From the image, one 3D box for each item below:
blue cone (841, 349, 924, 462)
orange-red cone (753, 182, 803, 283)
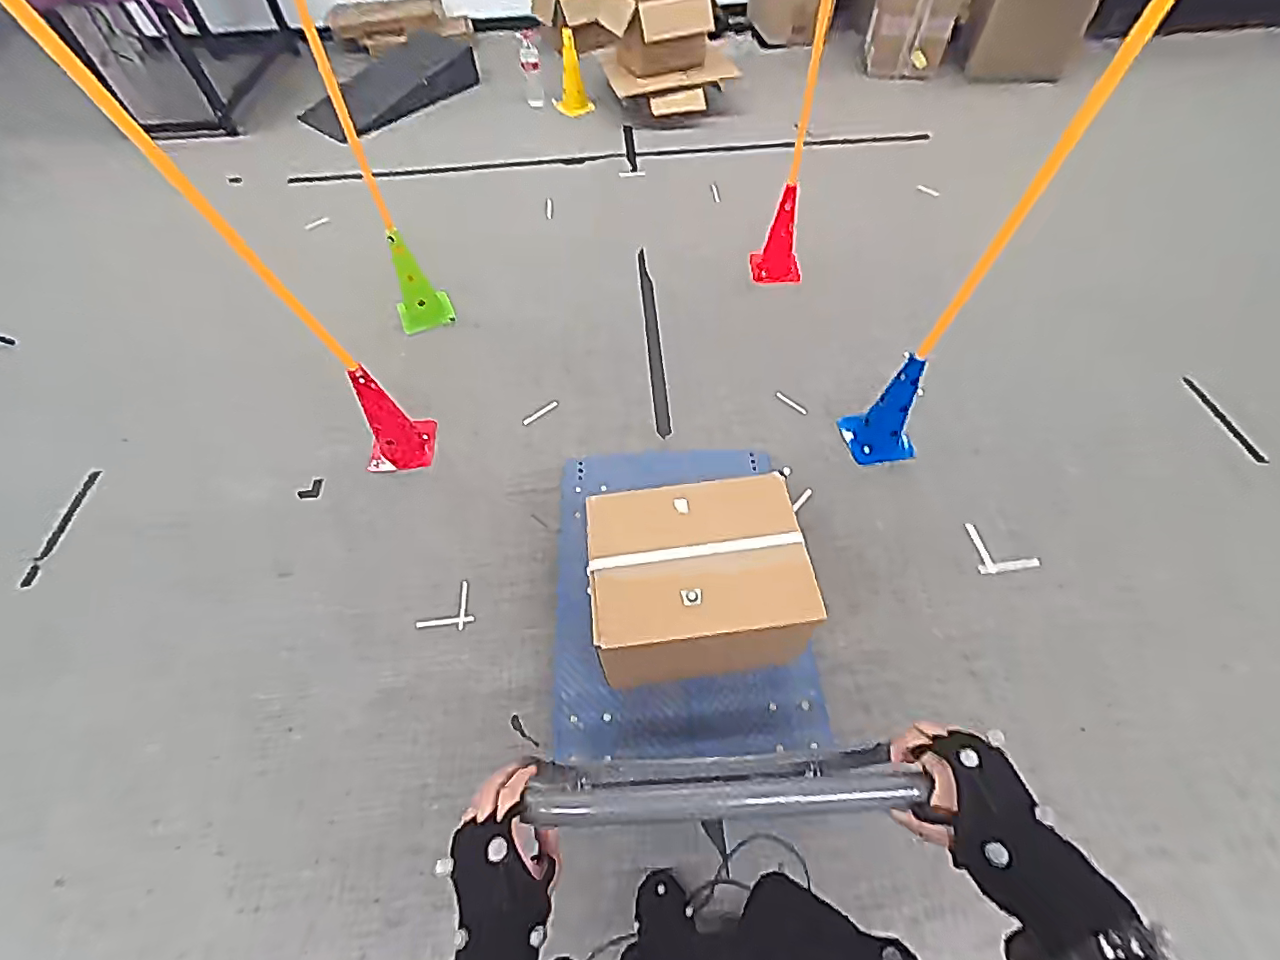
[{"bbox_3d":[0.768,-0.233,1.626,0.193,0.380,0.192,-7,55,-4],"label":"blue cone"},{"bbox_3d":[0.572,-0.979,2.111,0.199,0.360,0.198,2,57,1],"label":"orange-red cone"}]
